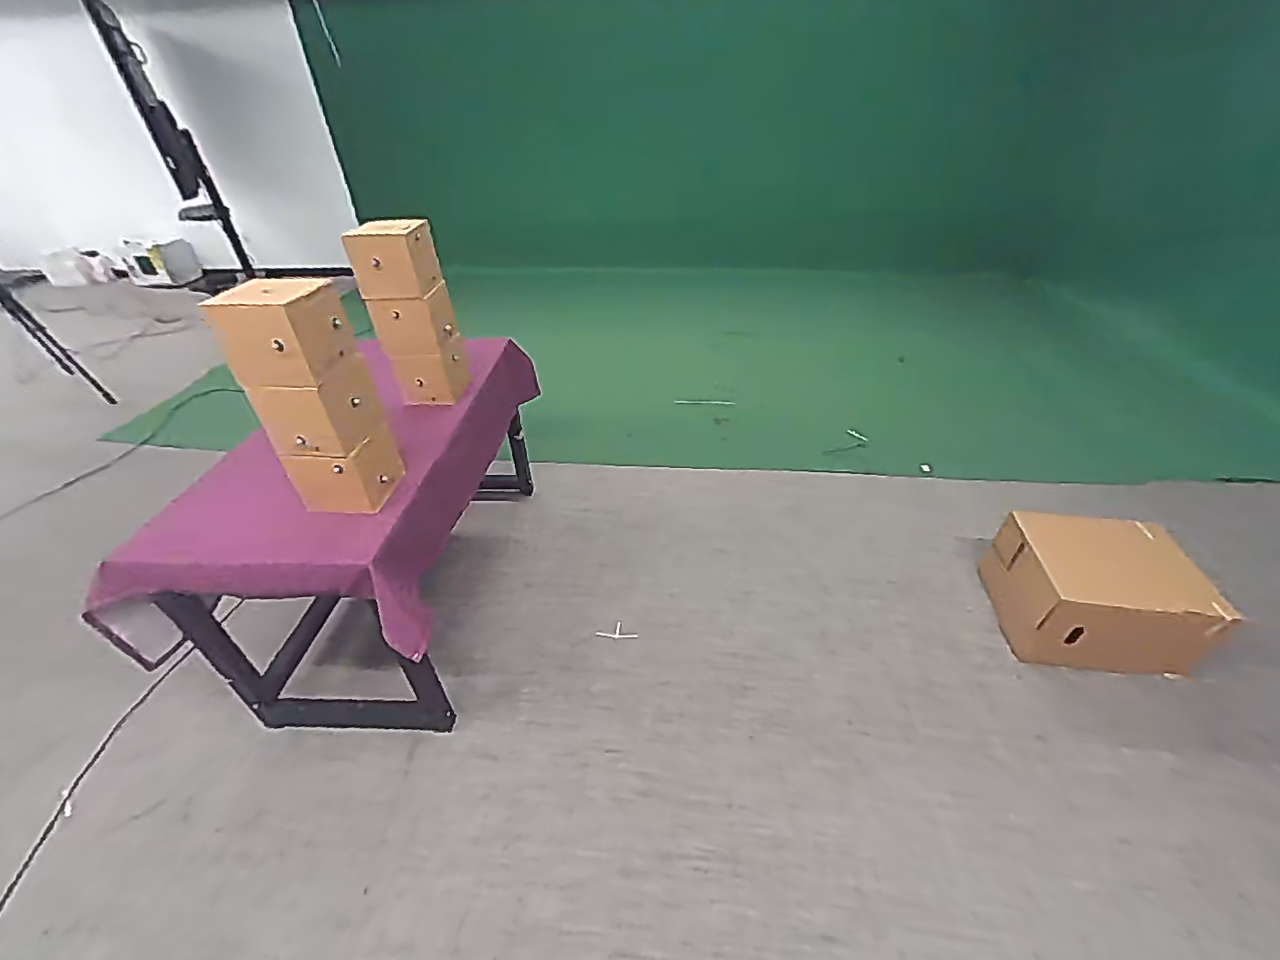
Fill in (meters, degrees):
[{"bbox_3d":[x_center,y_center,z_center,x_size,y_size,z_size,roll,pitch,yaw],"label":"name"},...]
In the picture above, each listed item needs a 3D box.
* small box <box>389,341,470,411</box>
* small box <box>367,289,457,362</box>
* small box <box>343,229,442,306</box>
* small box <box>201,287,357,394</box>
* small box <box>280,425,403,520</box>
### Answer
[{"bbox_3d":[-0.658,-0.329,1.714,0.168,0.176,0.179,2,37,5],"label":"small box"},{"bbox_3d":[-0.673,-0.461,1.617,0.179,0.176,0.168,0,37,3],"label":"small box"},{"bbox_3d":[-0.687,-0.596,1.523,0.179,0.176,0.168,-1,37,5],"label":"small box"},{"bbox_3d":[-0.721,-0.285,1.107,0.179,0.176,0.168,1,36,6],"label":"small box"},{"bbox_3d":[-0.703,-0.019,1.297,0.179,0.176,0.168,1,36,5],"label":"small box"}]
